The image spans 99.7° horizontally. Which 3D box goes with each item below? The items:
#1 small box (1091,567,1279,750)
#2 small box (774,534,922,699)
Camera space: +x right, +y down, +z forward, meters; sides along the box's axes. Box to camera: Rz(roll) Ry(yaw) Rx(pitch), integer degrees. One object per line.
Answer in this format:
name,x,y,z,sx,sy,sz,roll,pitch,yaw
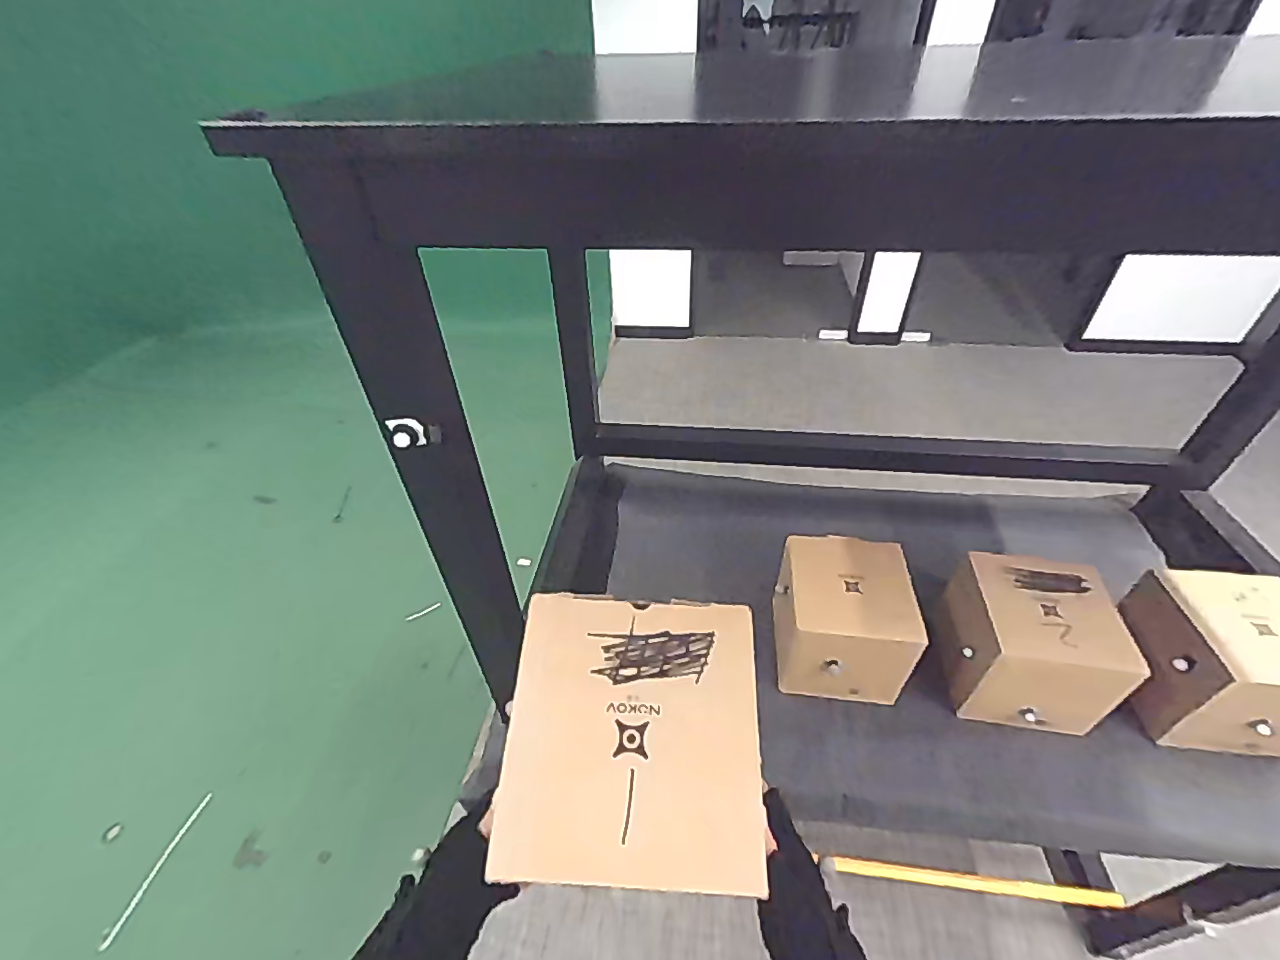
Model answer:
small box,0.784,0.244,0.743,0.168,0.176,0.179,4,40,6
small box,0.298,0.206,0.816,0.168,0.176,0.179,4,41,7
